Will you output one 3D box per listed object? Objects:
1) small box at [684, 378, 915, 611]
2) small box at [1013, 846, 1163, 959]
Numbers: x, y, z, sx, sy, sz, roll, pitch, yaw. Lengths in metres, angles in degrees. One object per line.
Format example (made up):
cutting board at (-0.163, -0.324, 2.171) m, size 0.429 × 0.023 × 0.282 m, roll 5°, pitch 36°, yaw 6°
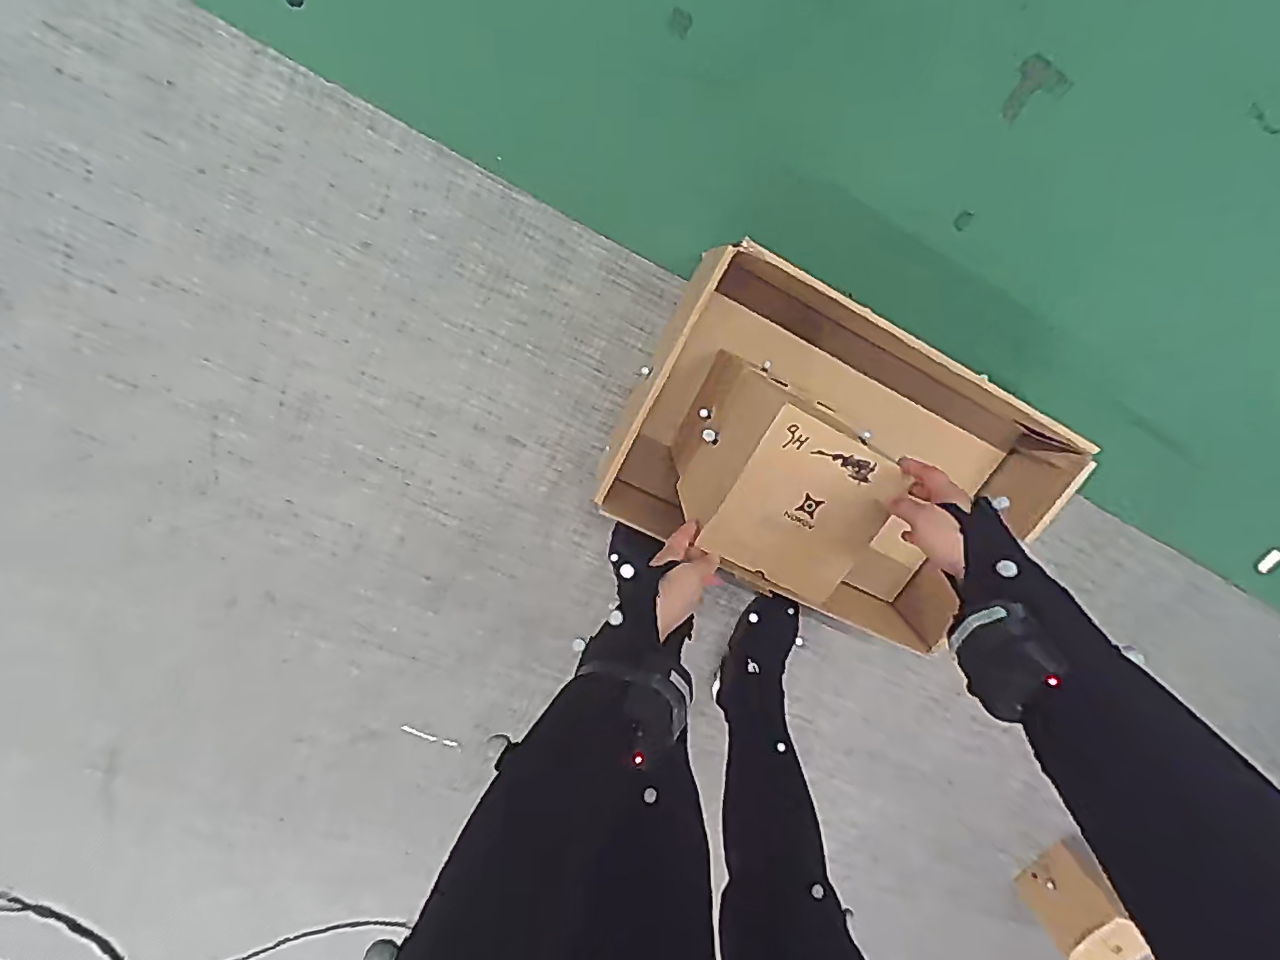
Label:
small box at (0.162, 0.008, 0.619) m, size 0.168 × 0.176 × 0.179 m, roll 27°, pitch 109°, yaw -12°
small box at (1.053, 1.019, 1.285) m, size 0.179 × 0.176 × 0.168 m, roll 30°, pitch 105°, yaw -13°
